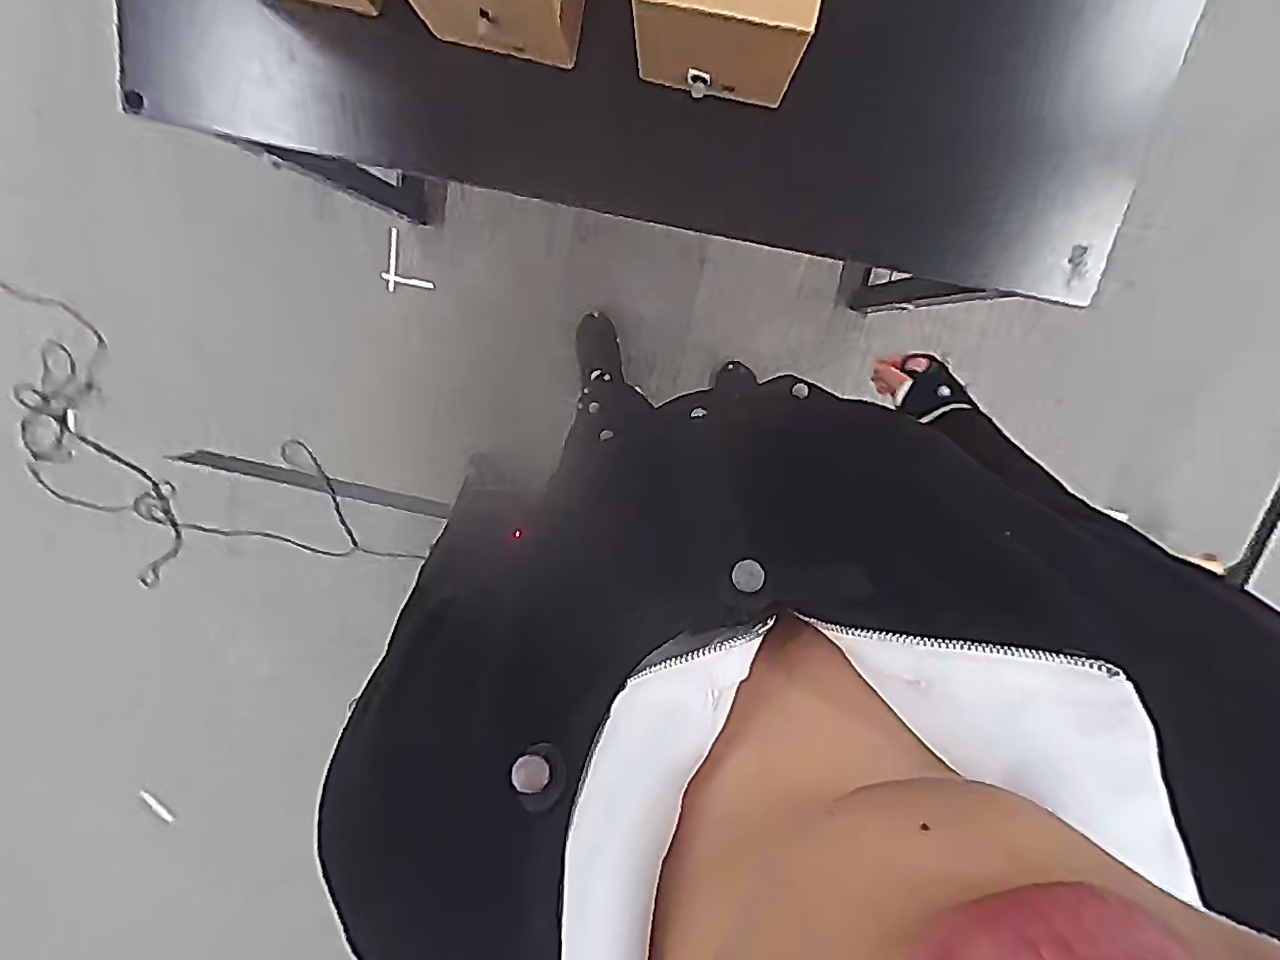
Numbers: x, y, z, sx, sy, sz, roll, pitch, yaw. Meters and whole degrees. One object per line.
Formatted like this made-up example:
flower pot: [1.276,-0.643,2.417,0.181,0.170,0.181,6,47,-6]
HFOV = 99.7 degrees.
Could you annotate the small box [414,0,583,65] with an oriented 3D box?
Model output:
small box: [-0.141,-0.554,0.531,0.168,0.176,0.179,11,105,-2]

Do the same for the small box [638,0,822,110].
small box: [0.094,-0.510,0.536,0.168,0.176,0.179,11,106,0]

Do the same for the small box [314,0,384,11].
small box: [-0.367,-0.607,0.523,0.179,0.176,0.168,11,105,-2]

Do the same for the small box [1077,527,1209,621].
small box: [1.329,0.246,1.447,0.168,0.176,0.179,10,105,-1]
